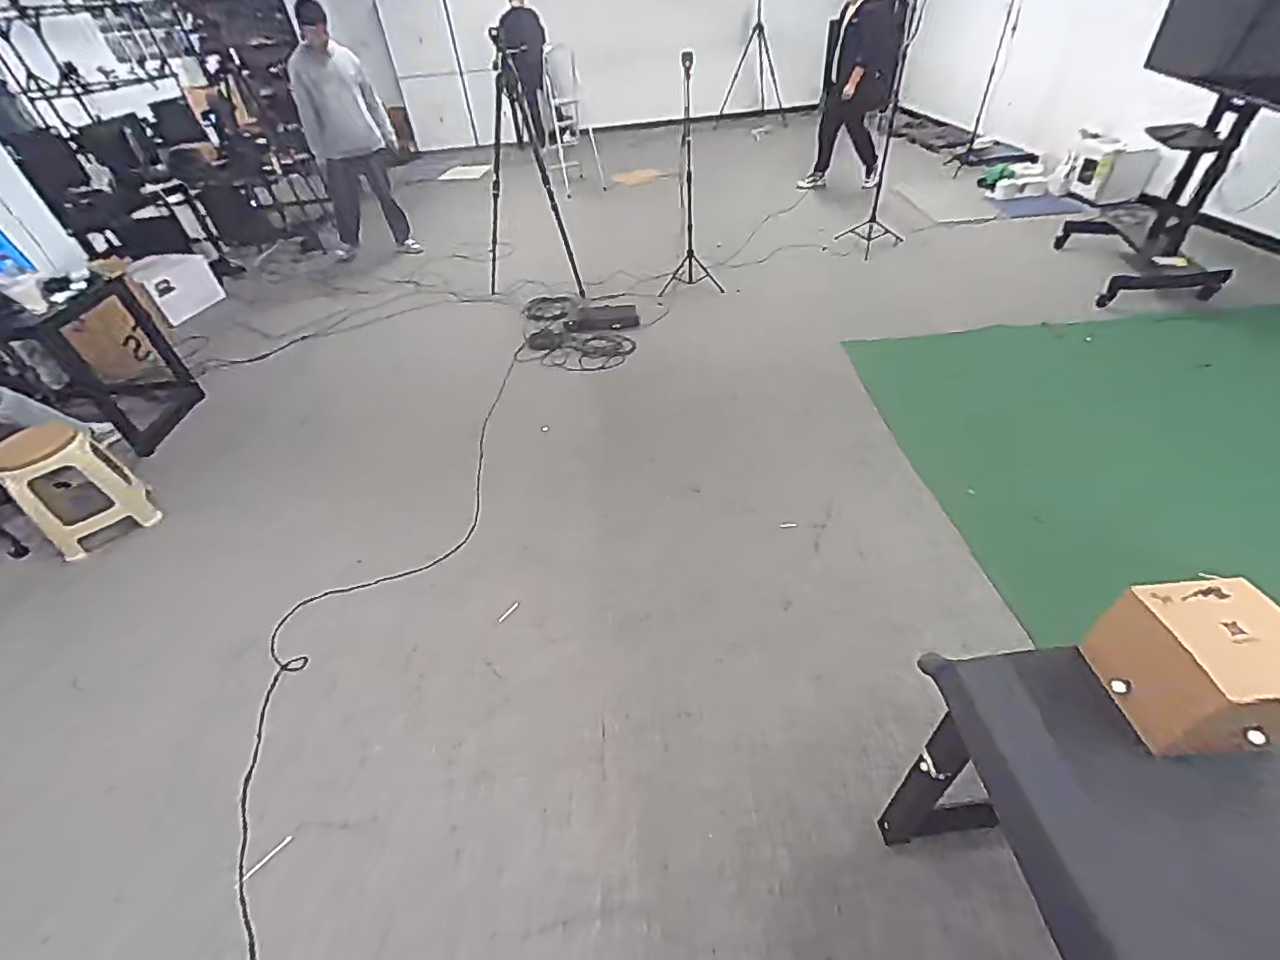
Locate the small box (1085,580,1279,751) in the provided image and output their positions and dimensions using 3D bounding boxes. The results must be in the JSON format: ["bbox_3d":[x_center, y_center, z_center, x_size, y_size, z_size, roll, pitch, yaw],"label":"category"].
[{"bbox_3d":[0.792,0.265,0.759,0.168,0.176,0.179,-5,43,2],"label":"small box"}]
